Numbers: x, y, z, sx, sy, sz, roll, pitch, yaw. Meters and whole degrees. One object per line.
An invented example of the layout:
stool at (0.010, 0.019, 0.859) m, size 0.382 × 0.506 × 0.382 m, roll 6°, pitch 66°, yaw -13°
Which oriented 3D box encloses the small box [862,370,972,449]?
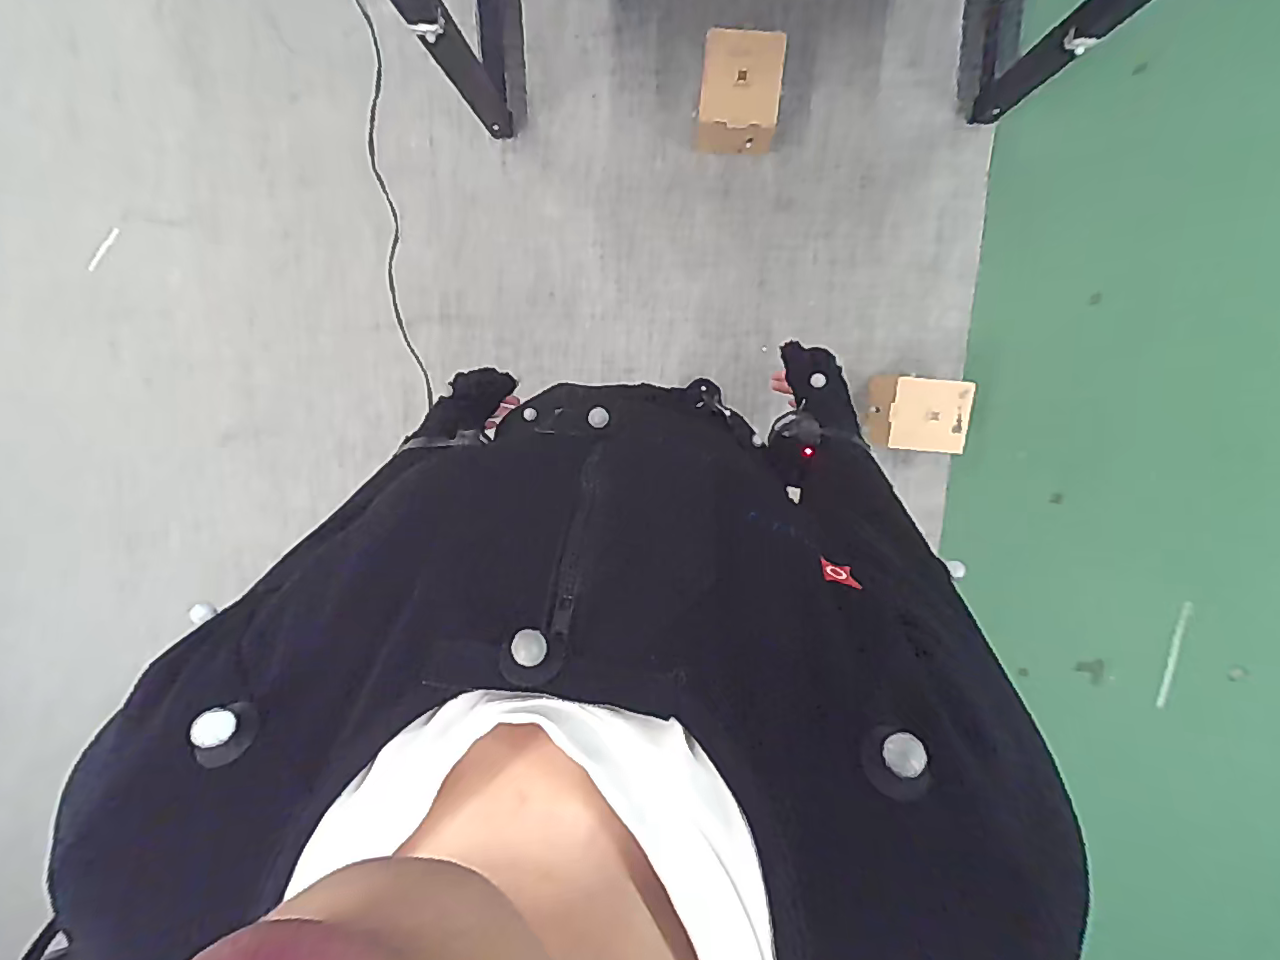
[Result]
small box at (0.663, -0.175, 1.317) m, size 0.179 × 0.176 × 0.168 m, roll 6°, pitch 102°, yaw 3°

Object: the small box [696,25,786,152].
small box at (0.215, -0.855, 1.198) m, size 0.168 × 0.176 × 0.179 m, roll 5°, pitch 100°, yaw 1°
